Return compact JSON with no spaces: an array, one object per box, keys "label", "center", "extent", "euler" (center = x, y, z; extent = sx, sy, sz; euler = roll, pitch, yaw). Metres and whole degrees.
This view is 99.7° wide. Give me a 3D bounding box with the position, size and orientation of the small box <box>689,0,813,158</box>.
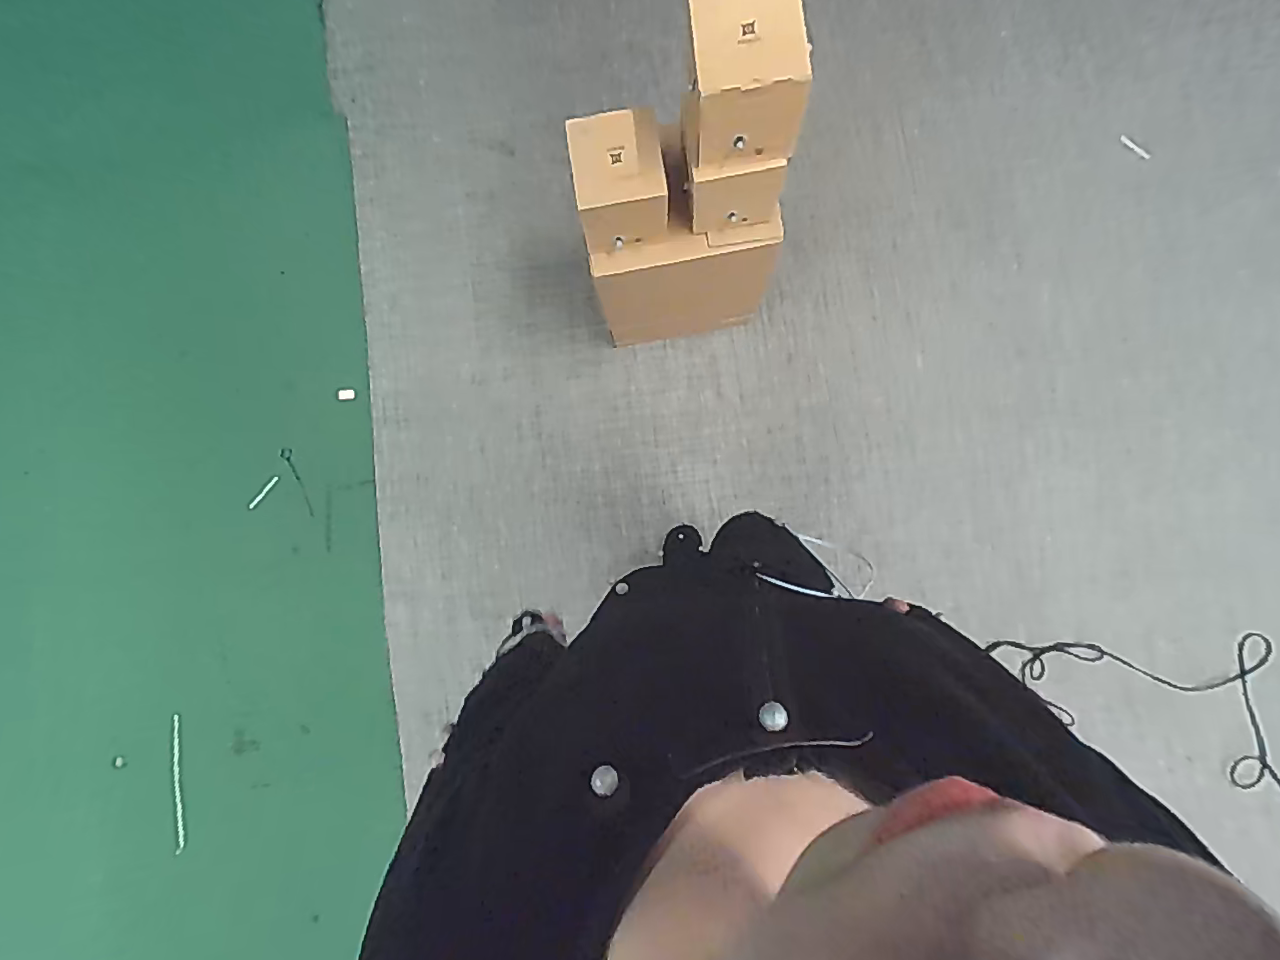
[{"label":"small box","center":[0.169,-0.664,0.876],"extent":[0.168,0.176,0.179],"euler":[-6,85,4]}]
